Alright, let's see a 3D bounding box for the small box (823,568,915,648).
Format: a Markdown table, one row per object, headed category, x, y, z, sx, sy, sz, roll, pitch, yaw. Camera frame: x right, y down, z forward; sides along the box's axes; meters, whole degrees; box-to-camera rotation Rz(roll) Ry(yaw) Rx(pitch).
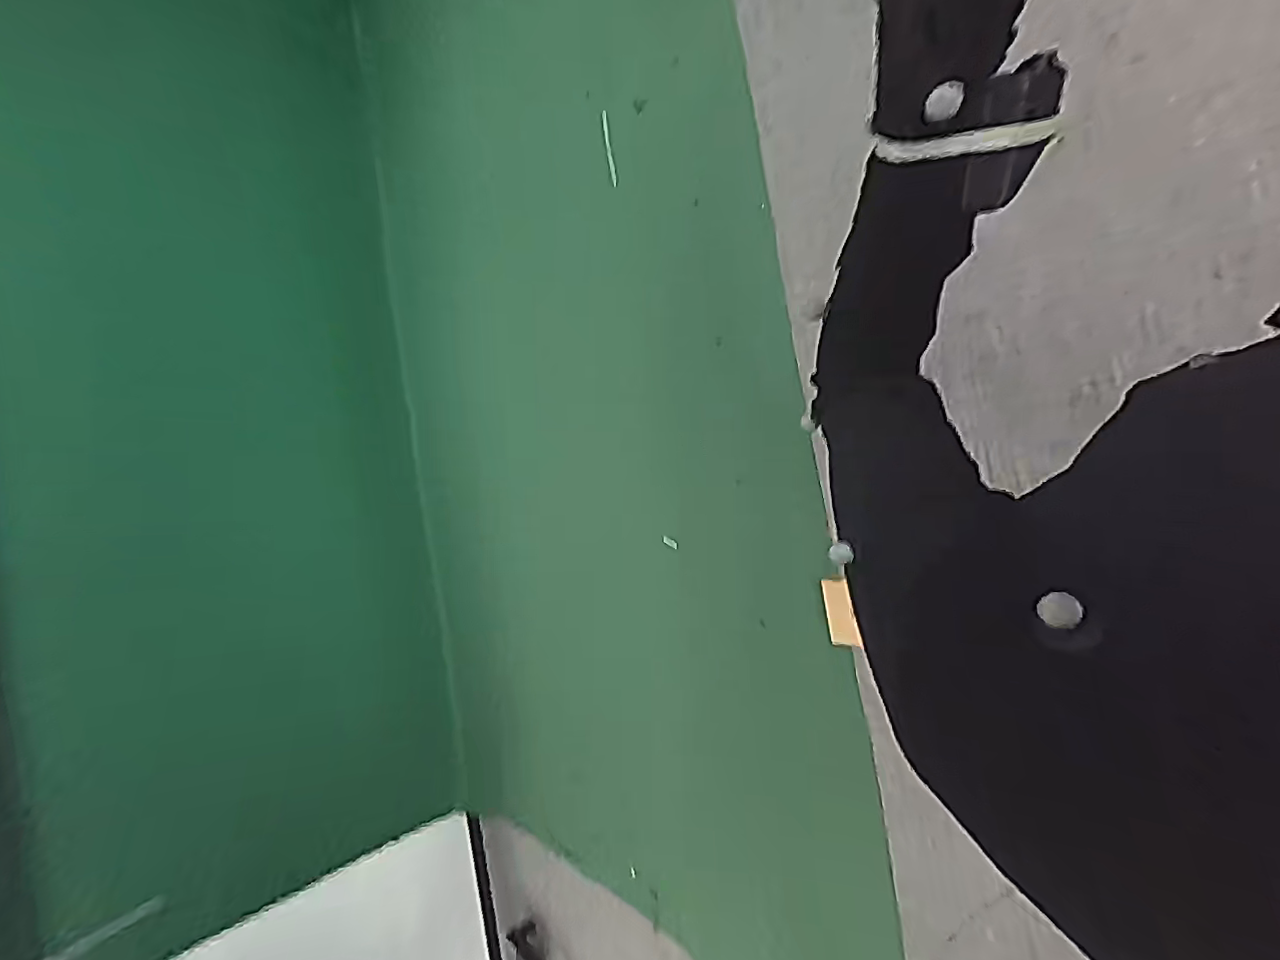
| category | x | y | z | sx | sy | sz | roll | pitch | yaw |
| --- | --- | --- | --- | --- | --- | --- | --- | --- | --- |
| small box | 0.632 | 0.346 | 1.485 | 0.168 | 0.176 | 0.179 | -13 | 85 | 47 |
